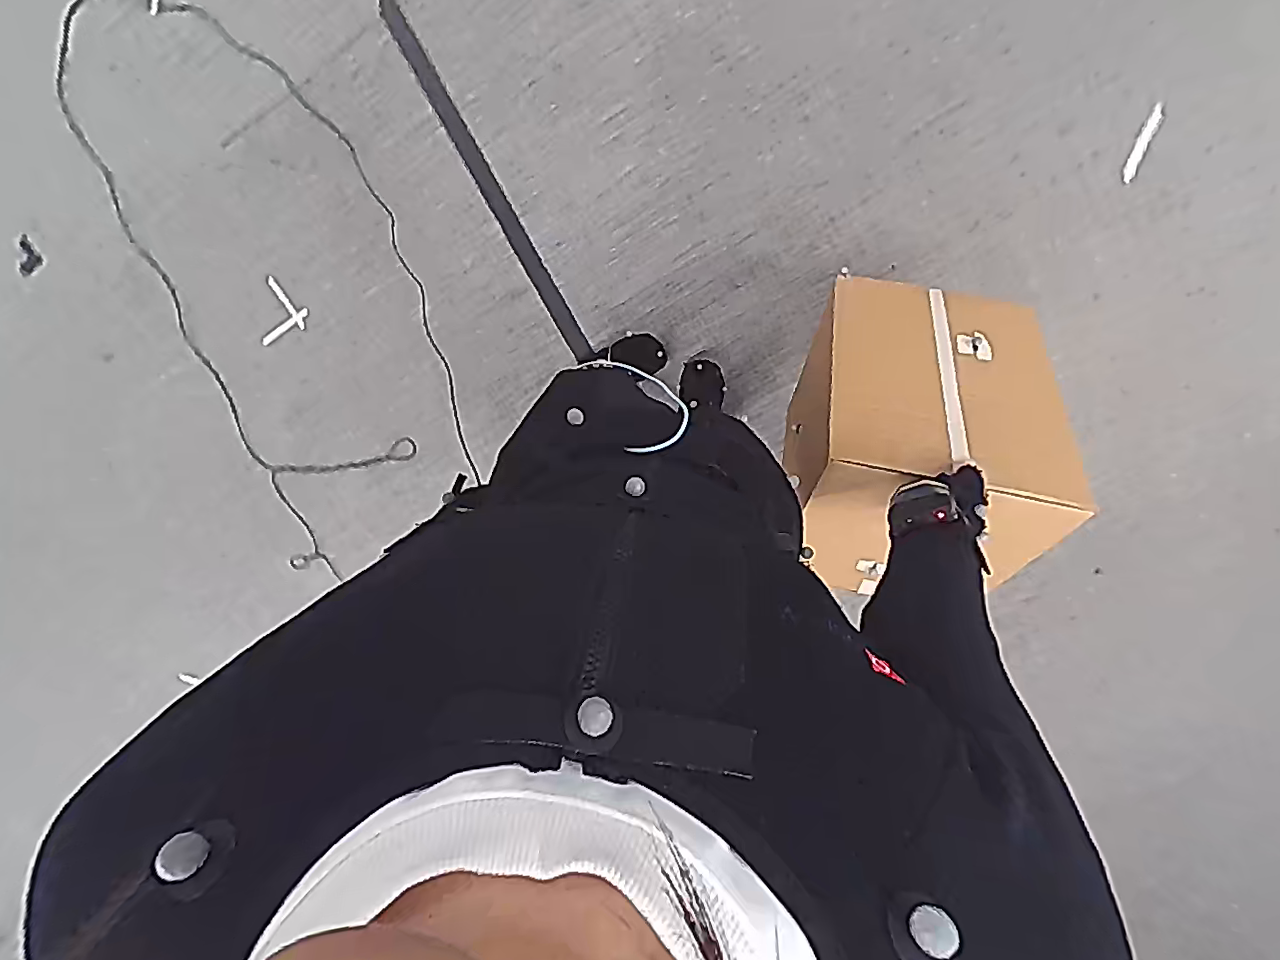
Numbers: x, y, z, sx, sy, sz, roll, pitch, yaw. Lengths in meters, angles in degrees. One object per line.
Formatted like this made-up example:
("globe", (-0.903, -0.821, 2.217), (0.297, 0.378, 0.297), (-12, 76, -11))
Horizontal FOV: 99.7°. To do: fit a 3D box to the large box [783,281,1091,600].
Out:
("large box", (0.428, -0.065, 0.896), (0.320, 0.408, 0.320), (11, 144, 5))
